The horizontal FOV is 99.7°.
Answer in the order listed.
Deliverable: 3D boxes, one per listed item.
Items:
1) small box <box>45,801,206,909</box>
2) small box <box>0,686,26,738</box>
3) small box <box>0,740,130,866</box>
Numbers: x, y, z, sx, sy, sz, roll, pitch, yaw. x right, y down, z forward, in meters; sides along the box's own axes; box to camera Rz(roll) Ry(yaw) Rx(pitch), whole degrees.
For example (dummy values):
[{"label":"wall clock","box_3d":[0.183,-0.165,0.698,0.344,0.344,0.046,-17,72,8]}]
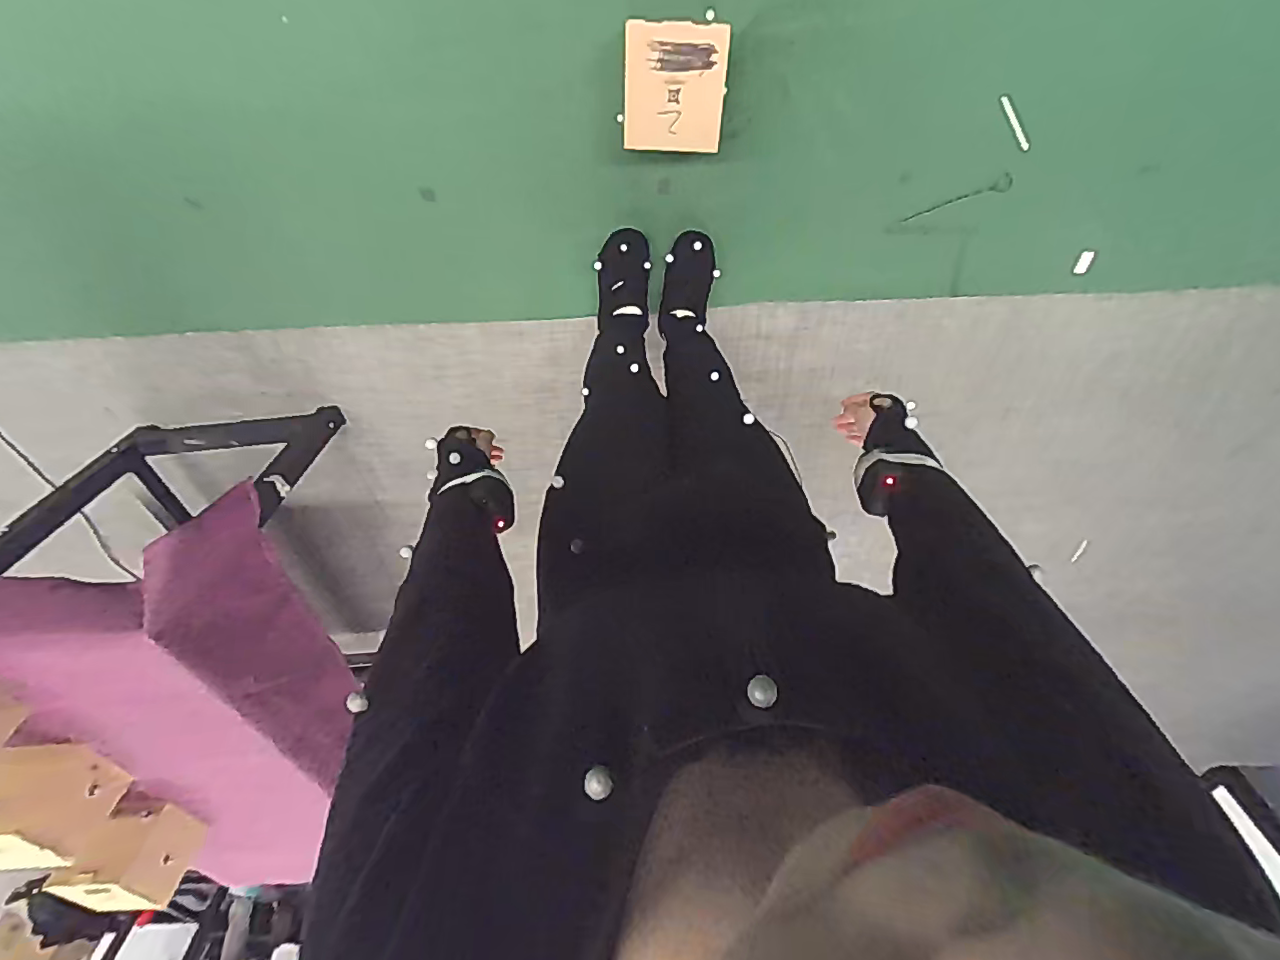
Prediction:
[{"label":"small box","box_3d":[-1.173,0.863,1.252,0.168,0.176,0.179,-3,129,2]},{"label":"small box","box_3d":[-1.221,0.419,0.896,0.179,0.176,0.168,-5,129,-1]},{"label":"small box","box_3d":[-1.203,0.642,1.079,0.179,0.176,0.168,-5,128,2]}]
